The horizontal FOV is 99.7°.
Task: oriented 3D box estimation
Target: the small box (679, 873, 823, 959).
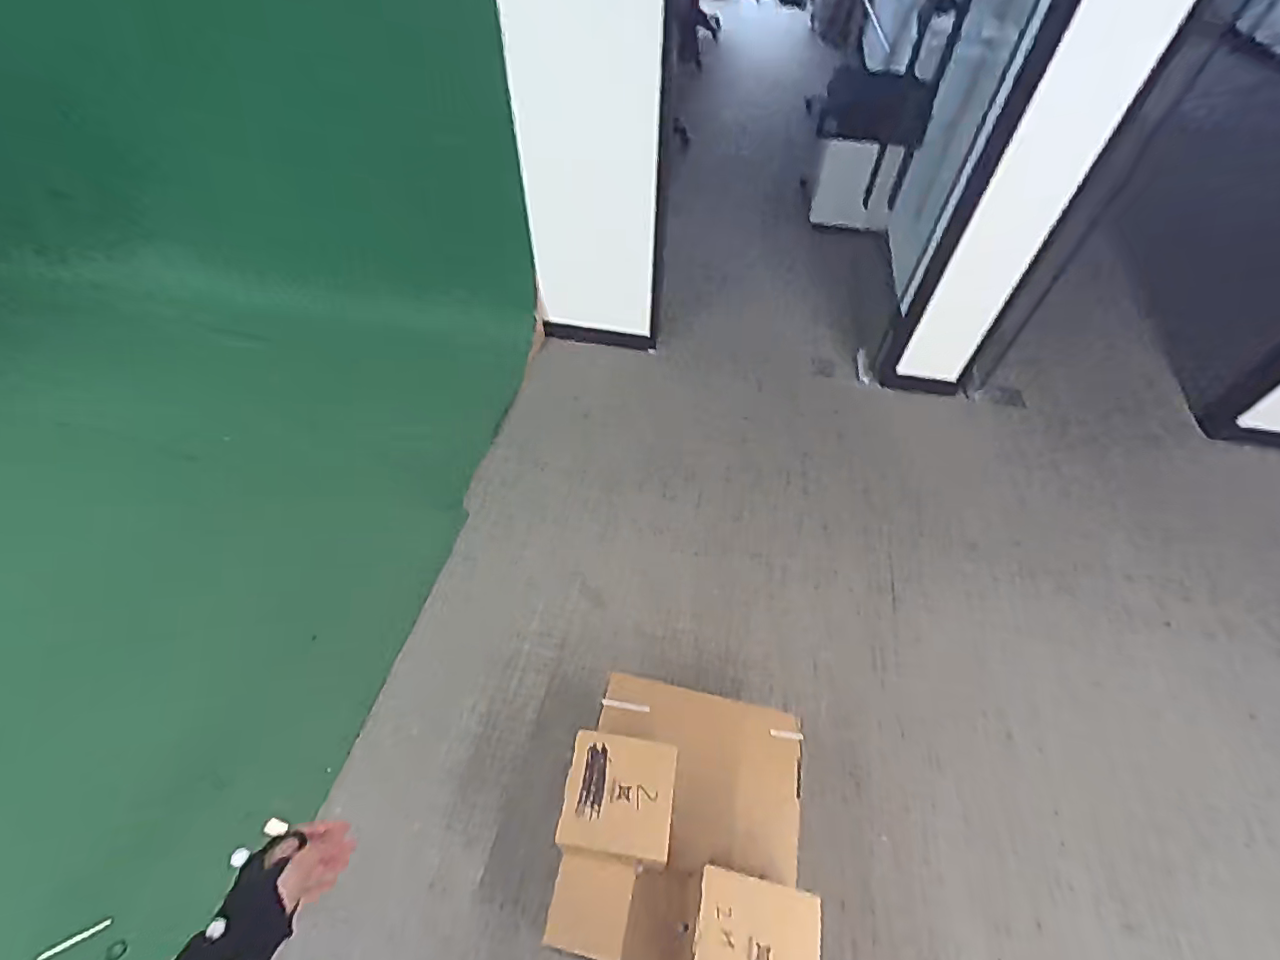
[{"bbox_3d":[0.158,0.709,0.803,0.179,0.176,0.168,12,51,7],"label":"small box"}]
